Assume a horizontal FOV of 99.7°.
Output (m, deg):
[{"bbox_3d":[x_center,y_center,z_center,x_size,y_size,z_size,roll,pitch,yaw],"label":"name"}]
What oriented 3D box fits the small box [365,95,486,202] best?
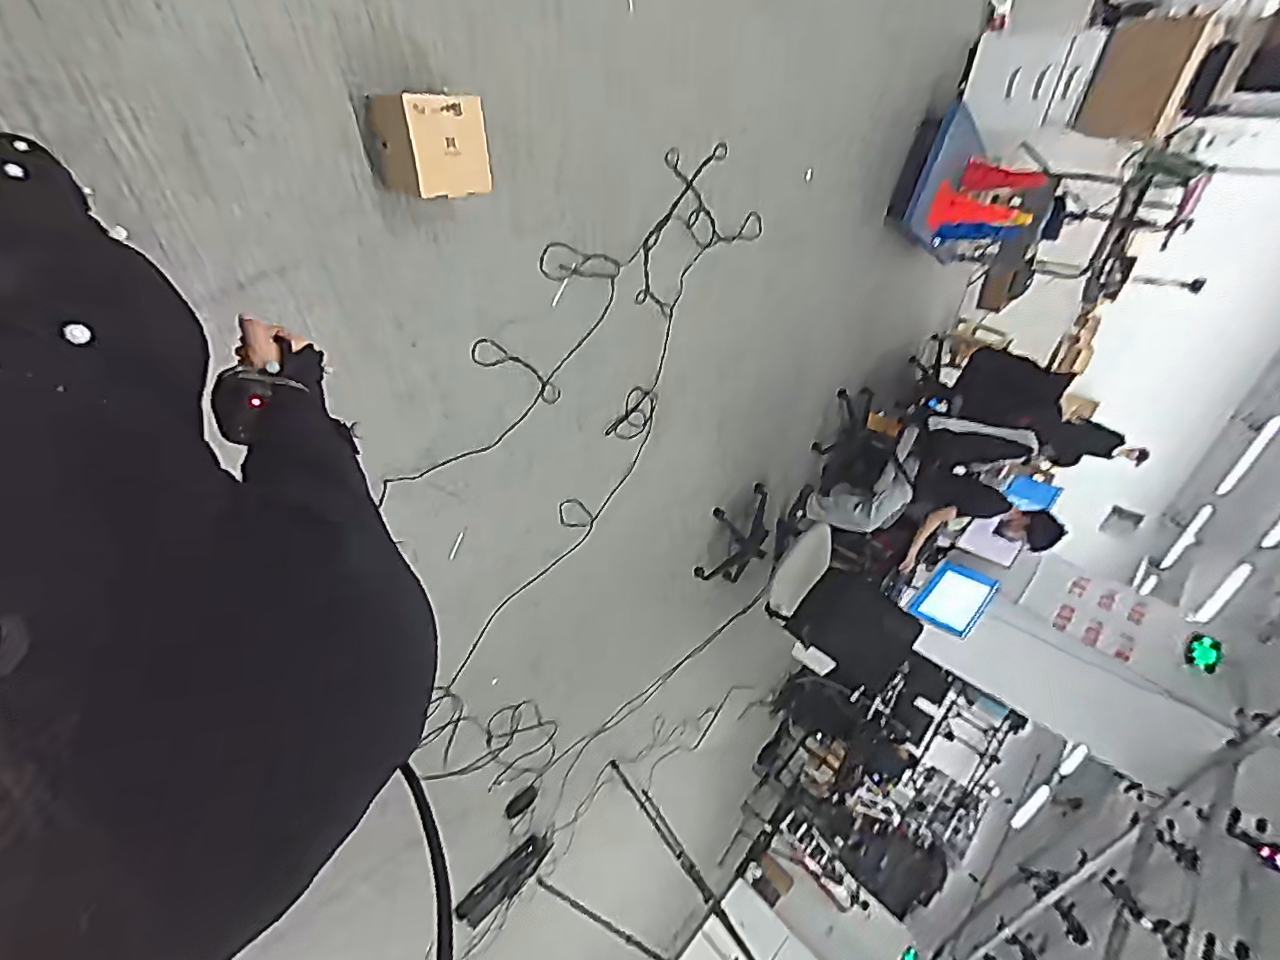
[{"bbox_3d":[-0.449,-0.698,1.137,0.168,0.176,0.179,-28,135,-36],"label":"small box"}]
